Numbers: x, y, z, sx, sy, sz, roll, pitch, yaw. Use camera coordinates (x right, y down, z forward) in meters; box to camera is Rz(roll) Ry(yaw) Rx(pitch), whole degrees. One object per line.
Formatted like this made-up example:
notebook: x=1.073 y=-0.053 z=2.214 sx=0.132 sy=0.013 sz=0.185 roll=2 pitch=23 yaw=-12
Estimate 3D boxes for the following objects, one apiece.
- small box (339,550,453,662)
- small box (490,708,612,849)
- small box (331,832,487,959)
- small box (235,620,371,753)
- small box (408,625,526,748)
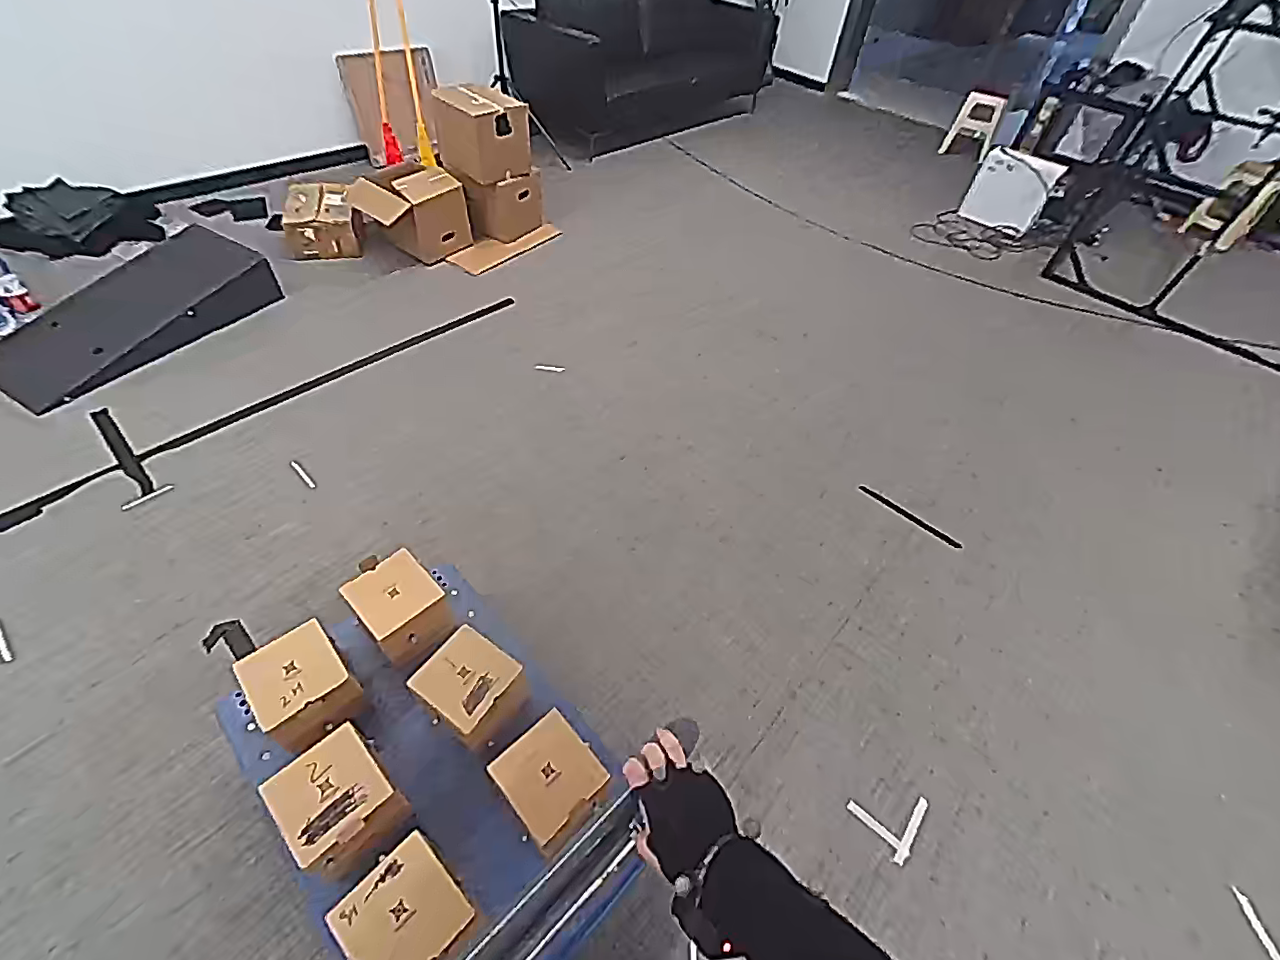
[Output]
small box: x=-0.568 y=0.306 z=1.281 sx=0.179 sy=0.176 sz=0.168 roll=37 pitch=55 yaw=22
small box: x=-0.175 y=0.601 z=1.080 sx=0.168 sy=0.176 sz=0.179 roll=-34 pitch=60 yaw=-31
small box: x=-0.381 y=0.748 z=0.924 sx=0.179 sy=0.176 sz=0.168 roll=37 pitch=54 yaw=22
small box: x=-0.706 y=0.440 z=1.145 sx=0.168 sy=0.176 sz=0.179 roll=-33 pitch=61 yaw=-30
small box: x=-0.365 y=0.456 z=1.178 sx=0.179 sy=0.176 sz=0.168 roll=29 pitch=52 yaw=18
